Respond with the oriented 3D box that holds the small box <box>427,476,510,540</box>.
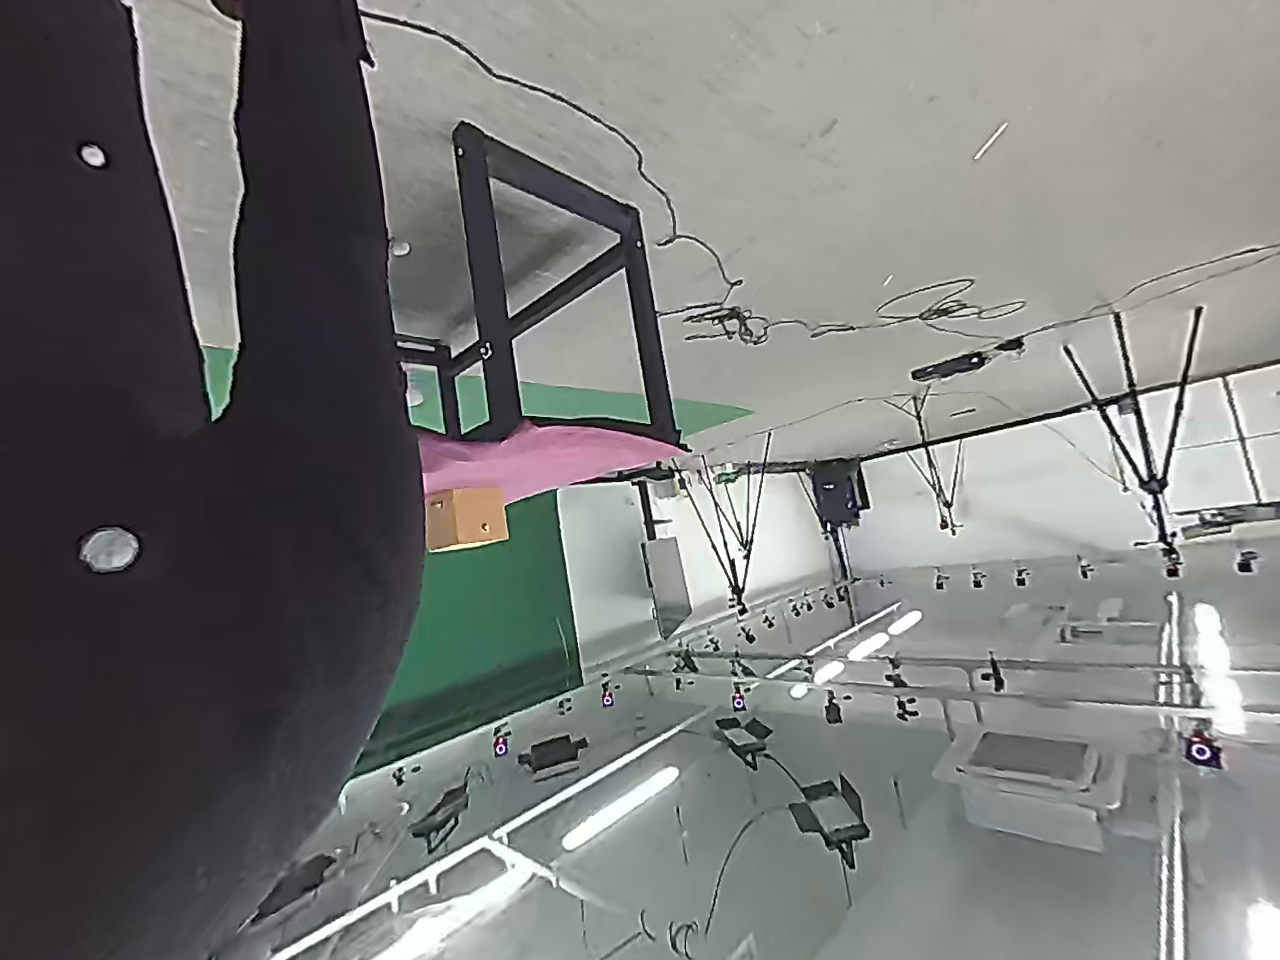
[{"bbox_3d":[-0.523,0.082,1.645,0.168,0.176,0.179,-14,172,37],"label":"small box"}]
